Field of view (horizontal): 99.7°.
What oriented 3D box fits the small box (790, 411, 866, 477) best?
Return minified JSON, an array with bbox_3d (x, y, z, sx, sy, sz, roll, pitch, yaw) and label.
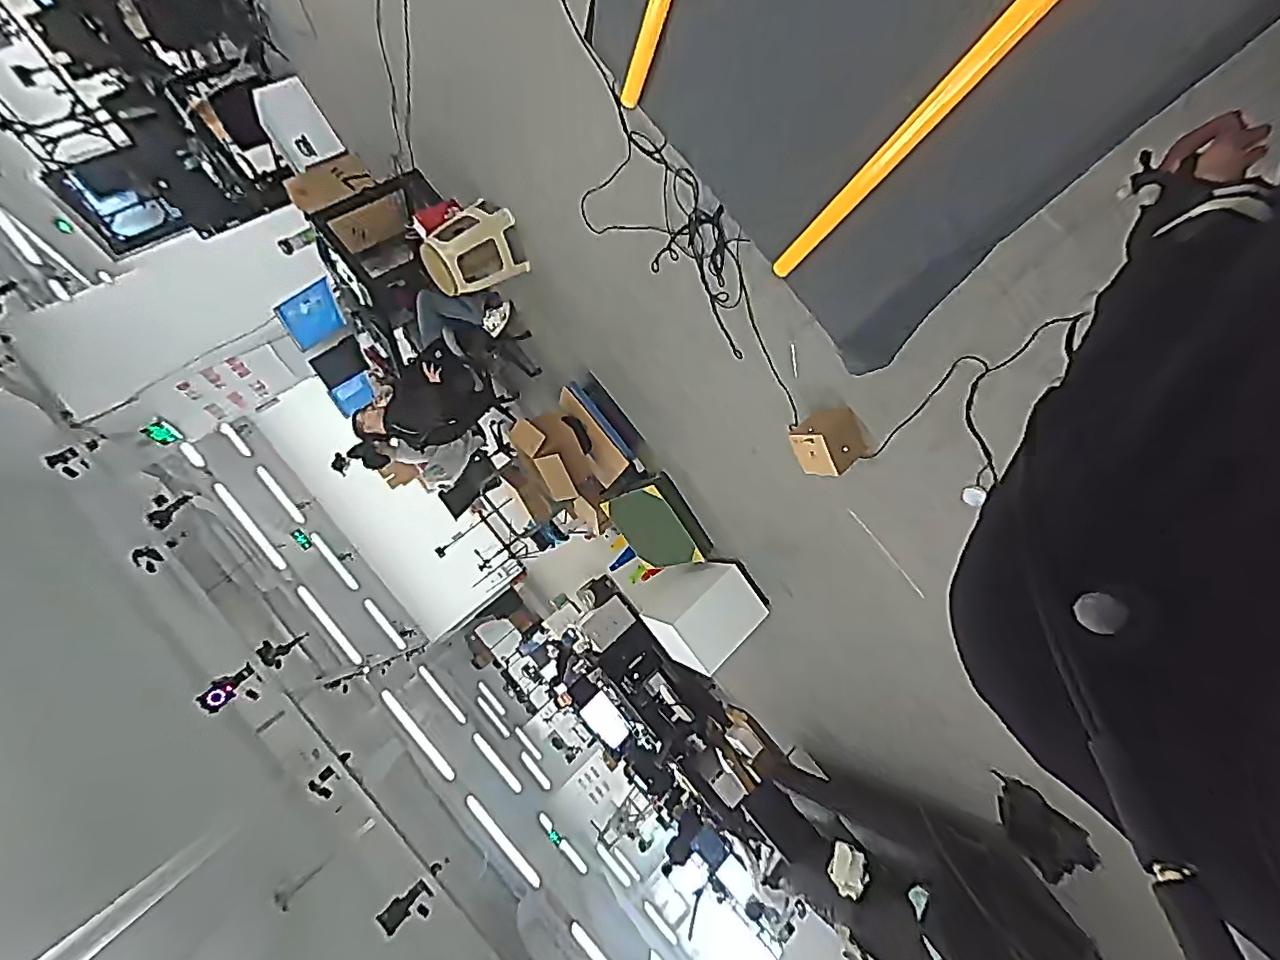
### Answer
[{"bbox_3d":[0.681,-0.132,1.949,0.168,0.176,0.179,9,133,61],"label":"small box"}]
